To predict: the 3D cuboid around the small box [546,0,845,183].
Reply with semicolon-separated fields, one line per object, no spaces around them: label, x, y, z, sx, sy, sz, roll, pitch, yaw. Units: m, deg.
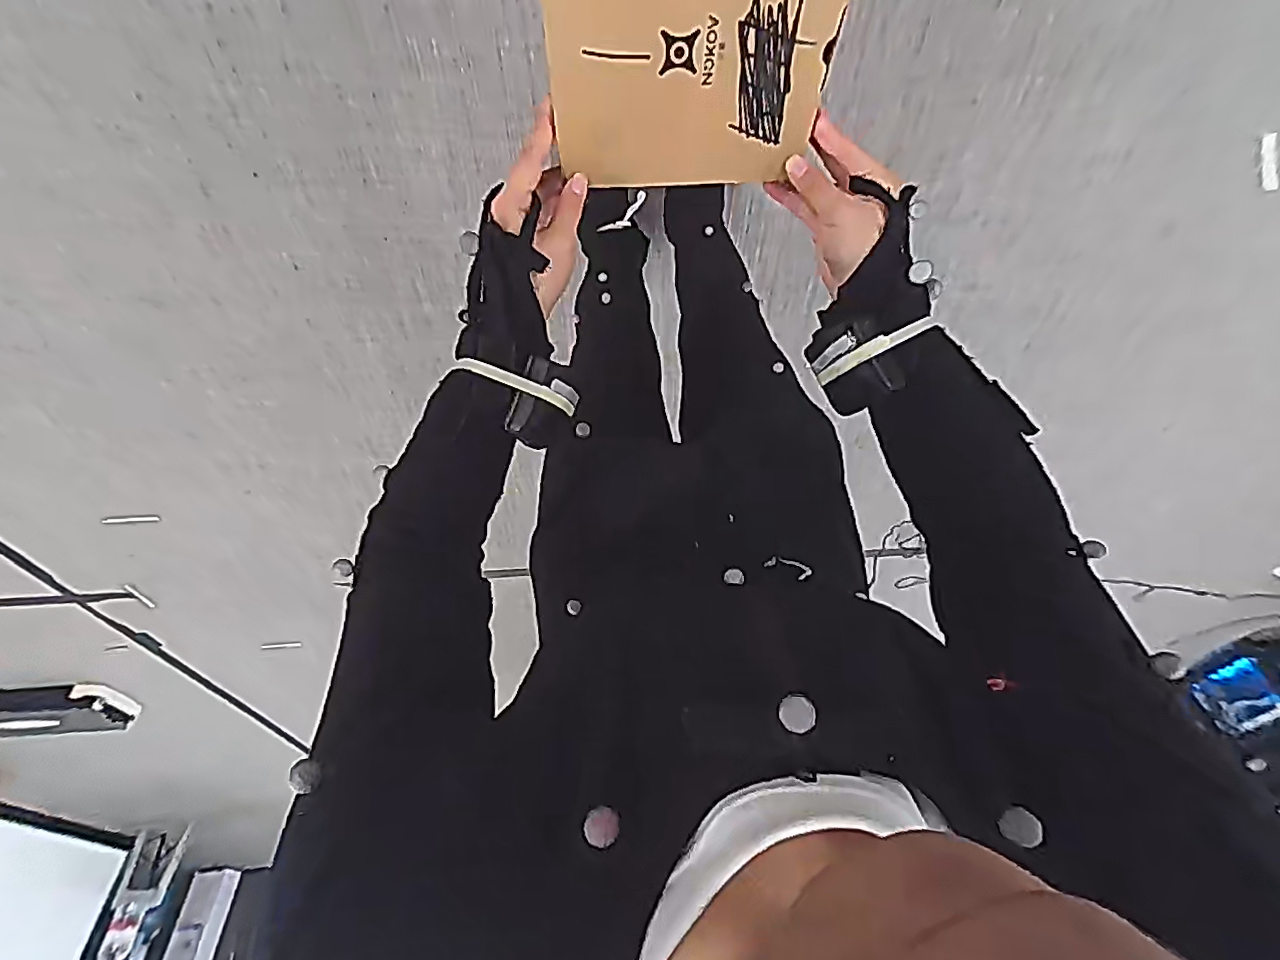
small box;0.026;-0.334;0.368;0.179;0.176;0.168;-4;152;-3
